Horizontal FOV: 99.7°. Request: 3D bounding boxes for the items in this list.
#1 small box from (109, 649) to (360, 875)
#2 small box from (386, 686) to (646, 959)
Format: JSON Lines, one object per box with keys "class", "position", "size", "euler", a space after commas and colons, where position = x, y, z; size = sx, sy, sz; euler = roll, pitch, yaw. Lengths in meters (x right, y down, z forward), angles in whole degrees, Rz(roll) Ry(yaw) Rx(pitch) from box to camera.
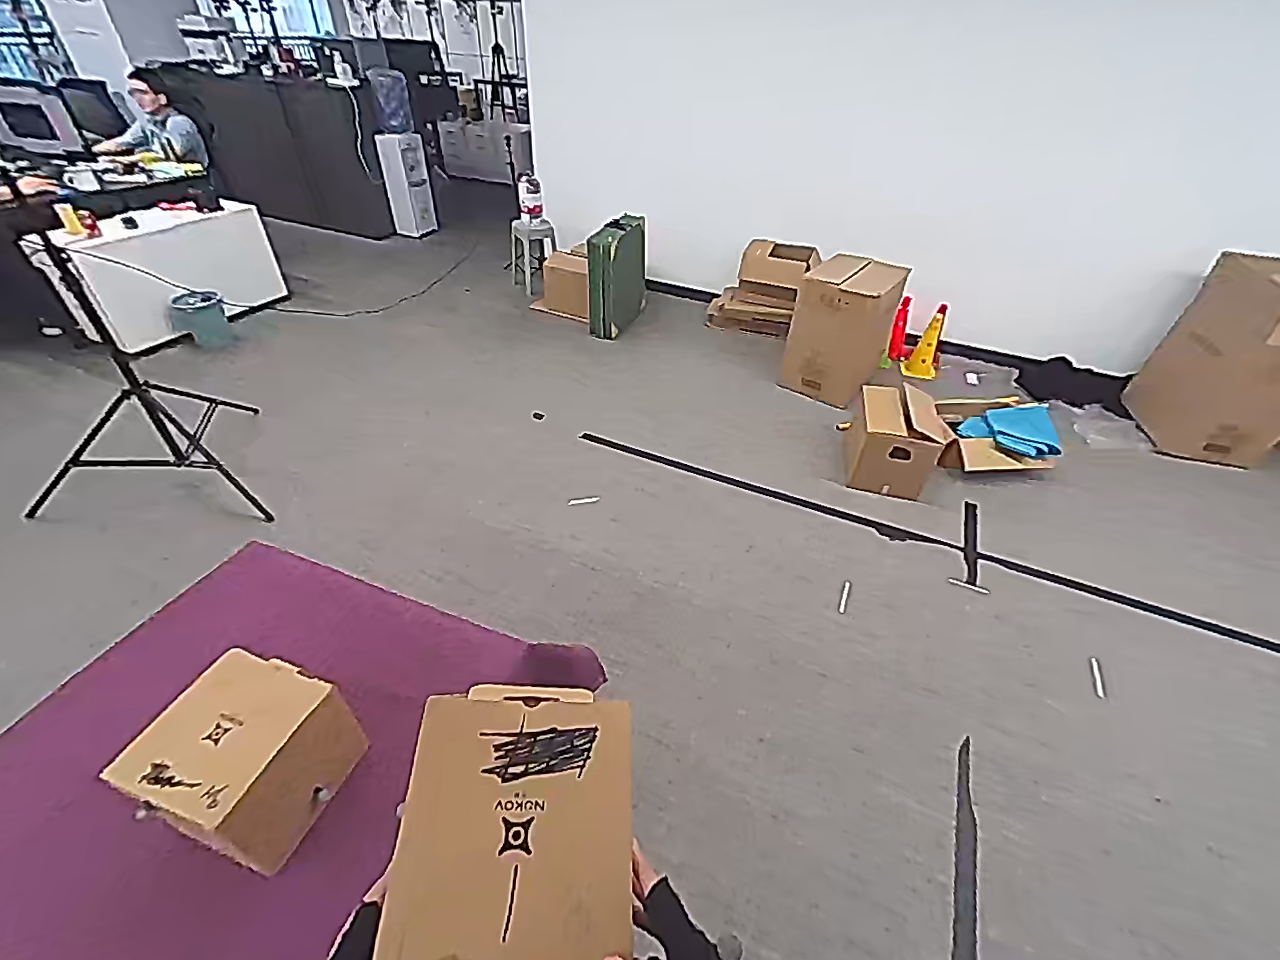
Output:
{"class": "small box", "position": [-0.492, 0.358, 0.693], "size": [0.168, 0.176, 0.179], "euler": [14, 40, 13]}
{"class": "small box", "position": [-0.090, 0.292, 0.454], "size": [0.168, 0.176, 0.179], "euler": [4, 50, -7]}
